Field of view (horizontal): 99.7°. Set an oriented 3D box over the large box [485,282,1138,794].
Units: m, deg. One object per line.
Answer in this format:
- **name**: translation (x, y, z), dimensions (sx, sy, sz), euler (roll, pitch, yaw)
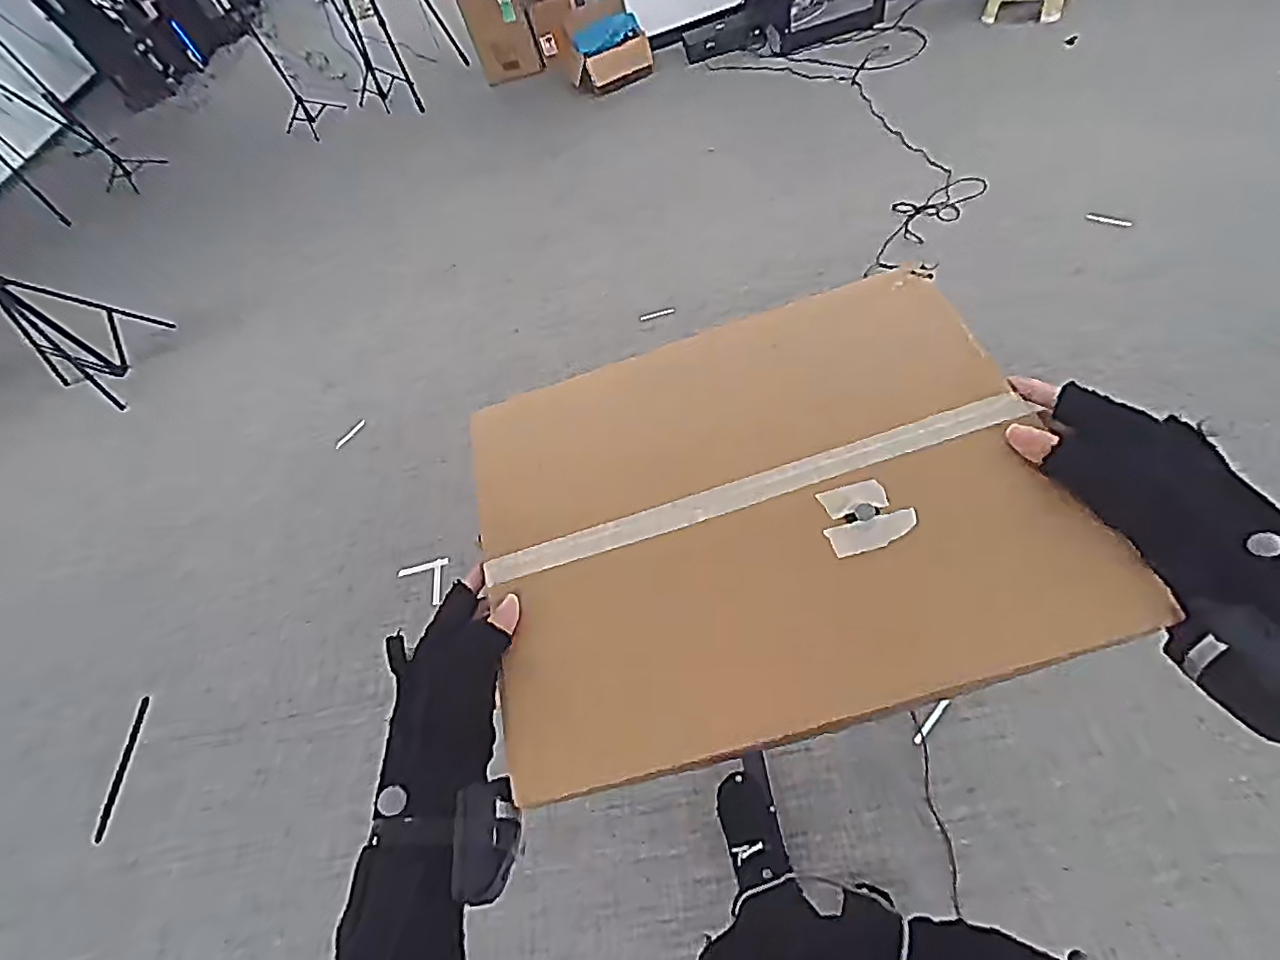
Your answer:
- **large box**: translation (0.110, 0.082, 0.540), dimensions (0.408, 0.320, 0.320), euler (-18, 61, 3)
